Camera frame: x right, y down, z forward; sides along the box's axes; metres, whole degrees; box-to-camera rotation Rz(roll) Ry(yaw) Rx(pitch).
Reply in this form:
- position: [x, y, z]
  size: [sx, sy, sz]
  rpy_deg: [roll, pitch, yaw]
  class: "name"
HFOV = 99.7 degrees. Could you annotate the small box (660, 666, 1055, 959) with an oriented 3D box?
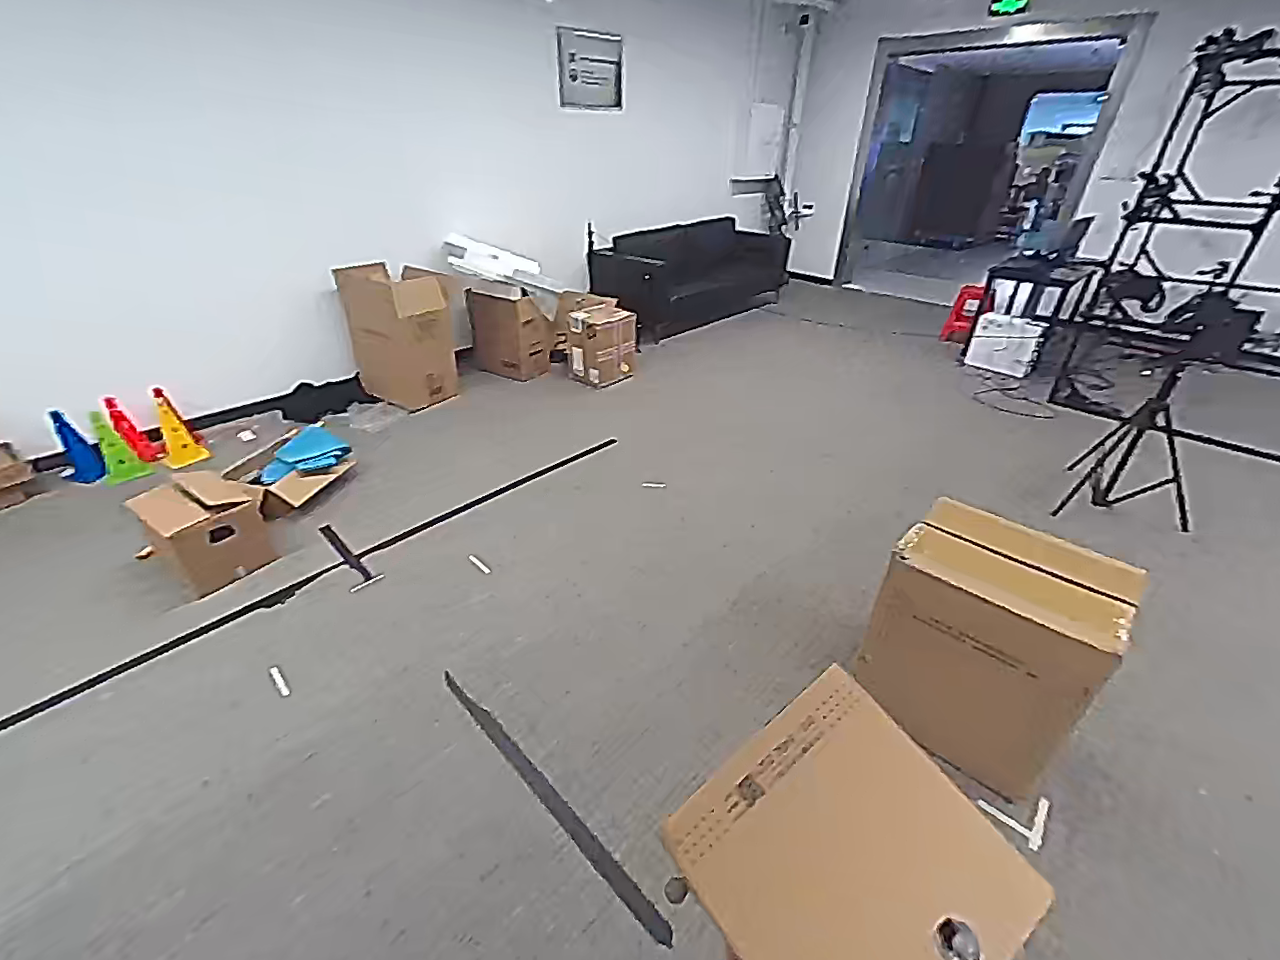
- position: [0.126, 0.262, 0.390]
  size: [0.168, 0.179, 0.176]
  rpy_deg: [-35, 63, -18]
  class: "small box"
